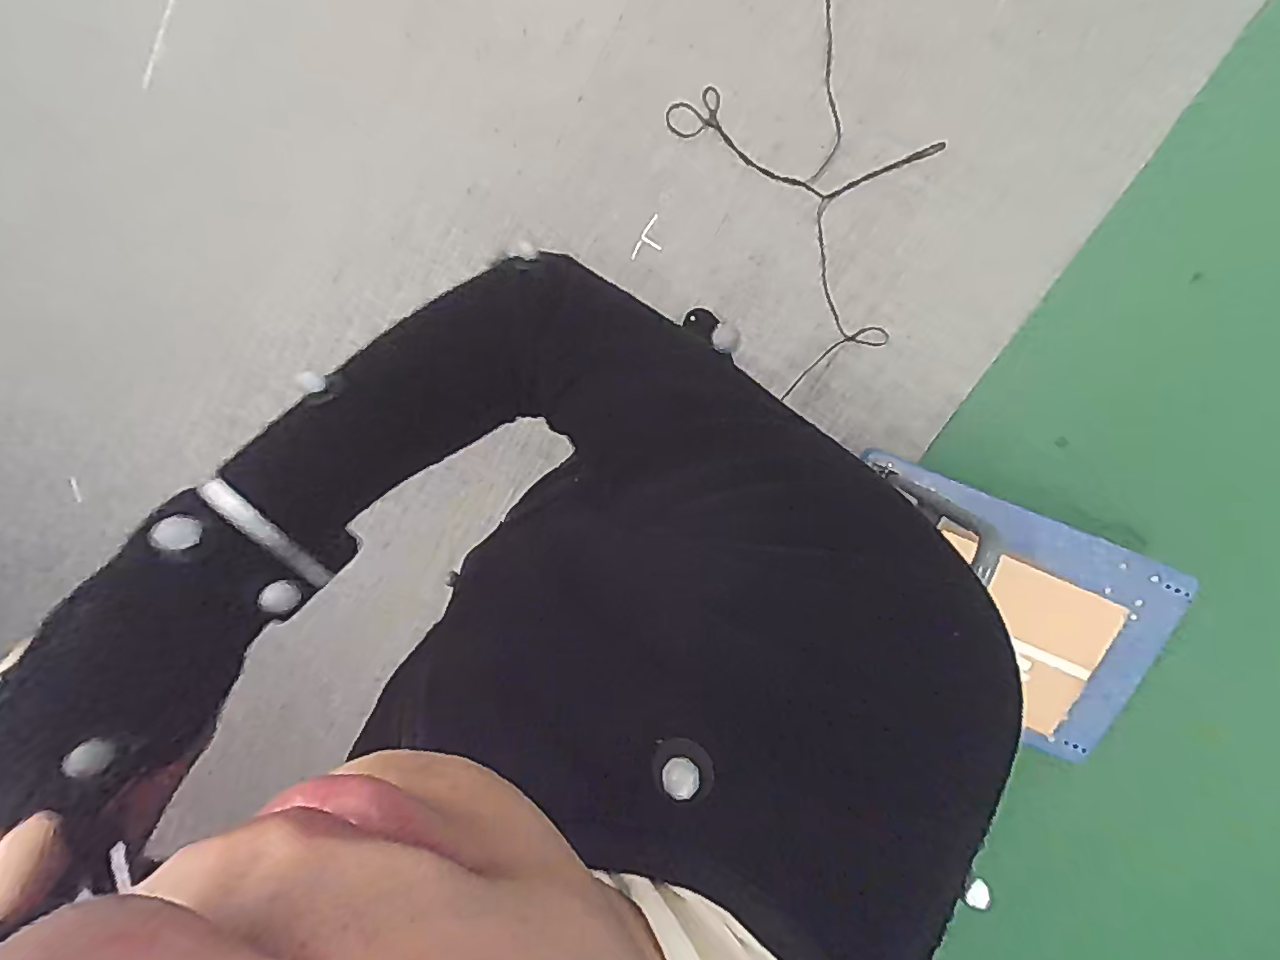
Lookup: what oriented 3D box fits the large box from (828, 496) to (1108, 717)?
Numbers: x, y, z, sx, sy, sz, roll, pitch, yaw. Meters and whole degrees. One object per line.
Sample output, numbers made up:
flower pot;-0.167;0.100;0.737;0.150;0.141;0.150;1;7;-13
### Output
large box;0.723;0.271;1.271;0.408;0.320;0.320;23;102;0
